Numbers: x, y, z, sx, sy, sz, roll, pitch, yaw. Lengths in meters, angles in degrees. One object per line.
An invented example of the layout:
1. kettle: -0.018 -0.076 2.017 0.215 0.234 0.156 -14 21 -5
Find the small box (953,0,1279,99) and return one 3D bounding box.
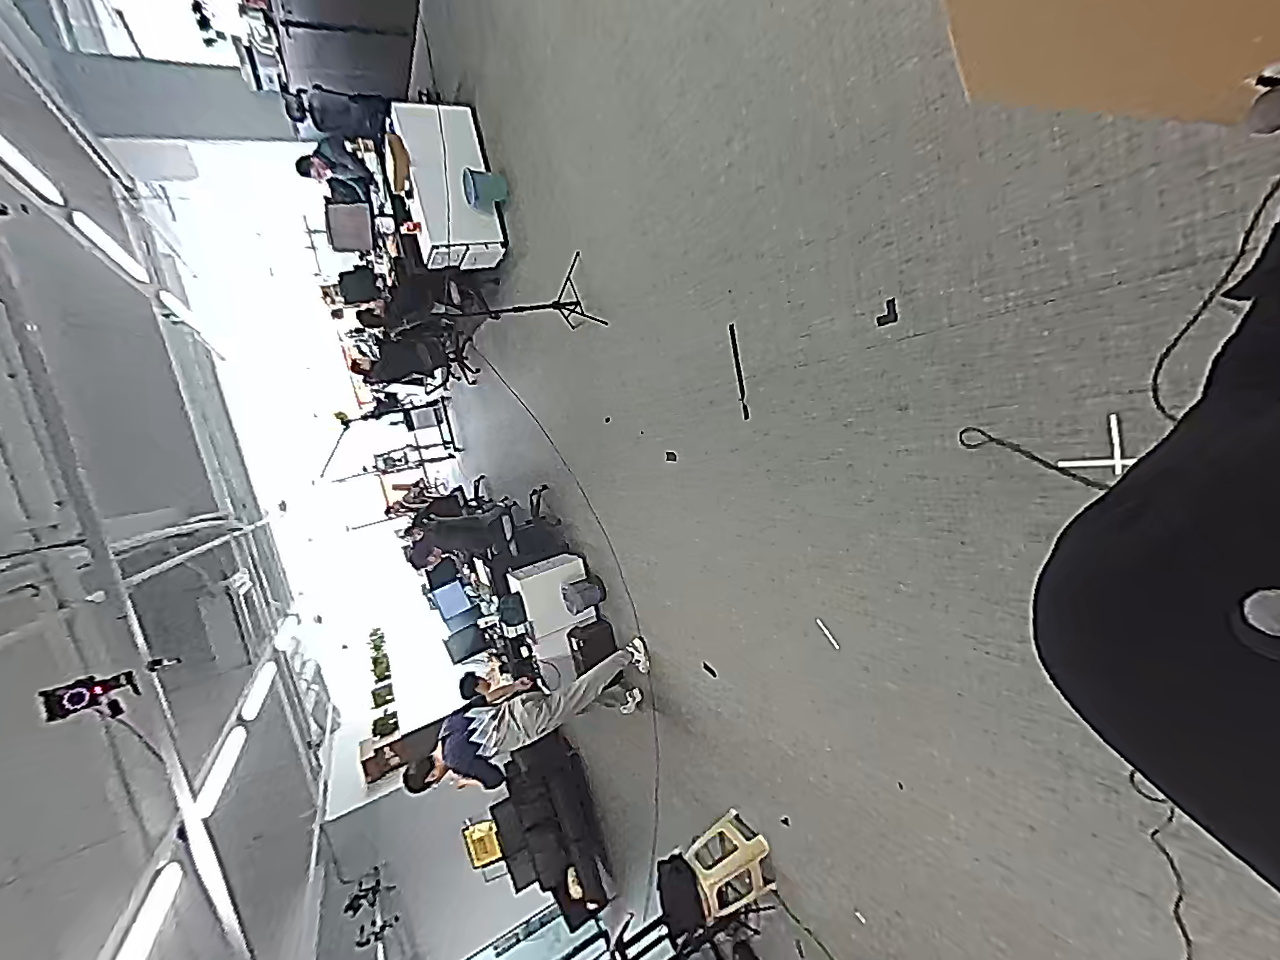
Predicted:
1. small box: 0.239 -0.260 0.190 0.176 0.168 0.179 28 117 28
